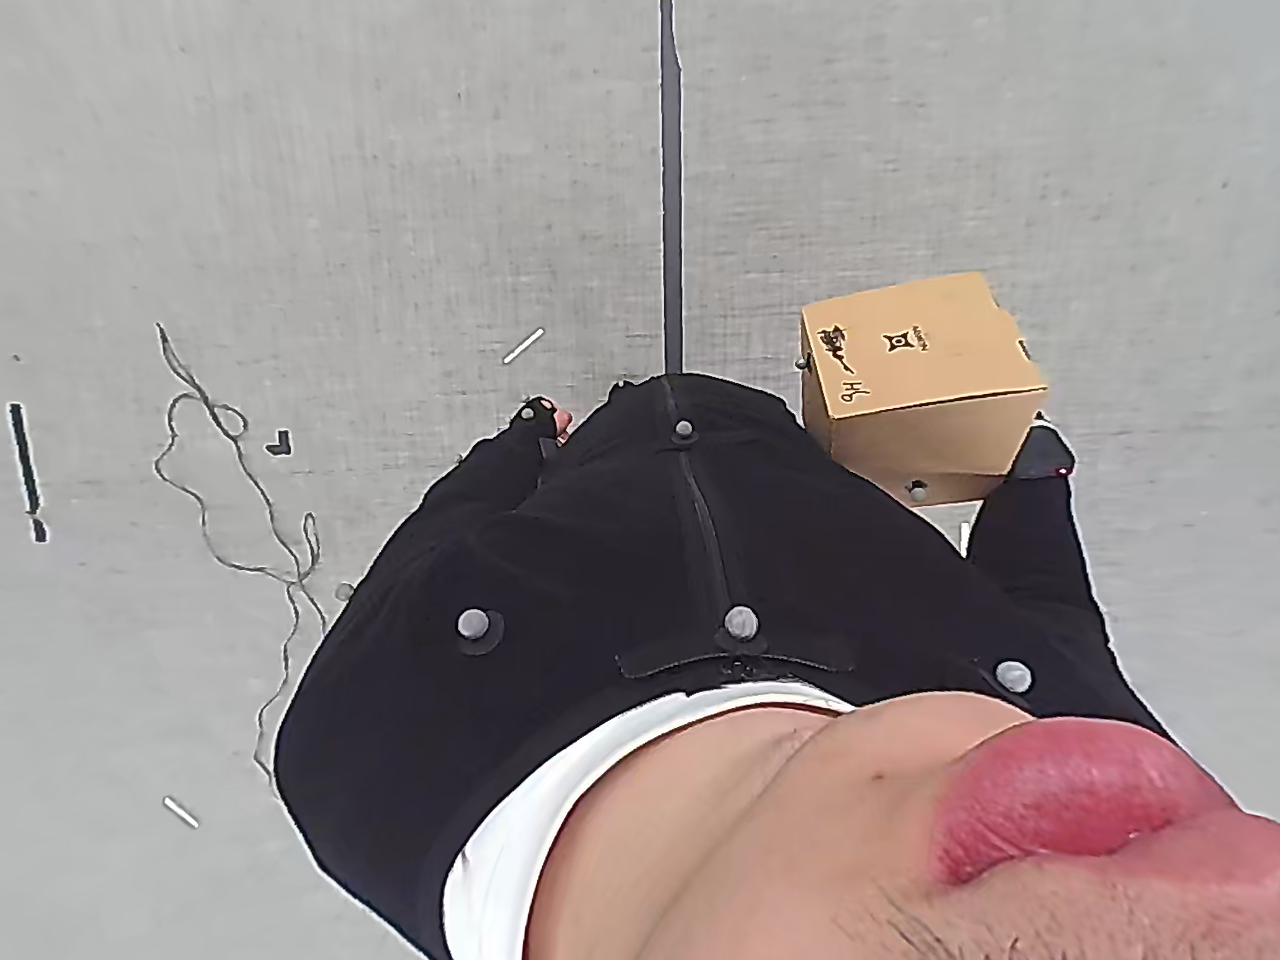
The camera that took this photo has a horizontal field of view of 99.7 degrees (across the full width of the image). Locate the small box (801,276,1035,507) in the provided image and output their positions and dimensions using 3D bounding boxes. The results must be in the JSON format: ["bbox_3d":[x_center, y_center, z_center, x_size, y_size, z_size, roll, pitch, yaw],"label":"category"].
[{"bbox_3d":[0.277,-0.088,0.591,0.179,0.168,0.176,-8,142,11],"label":"small box"}]
